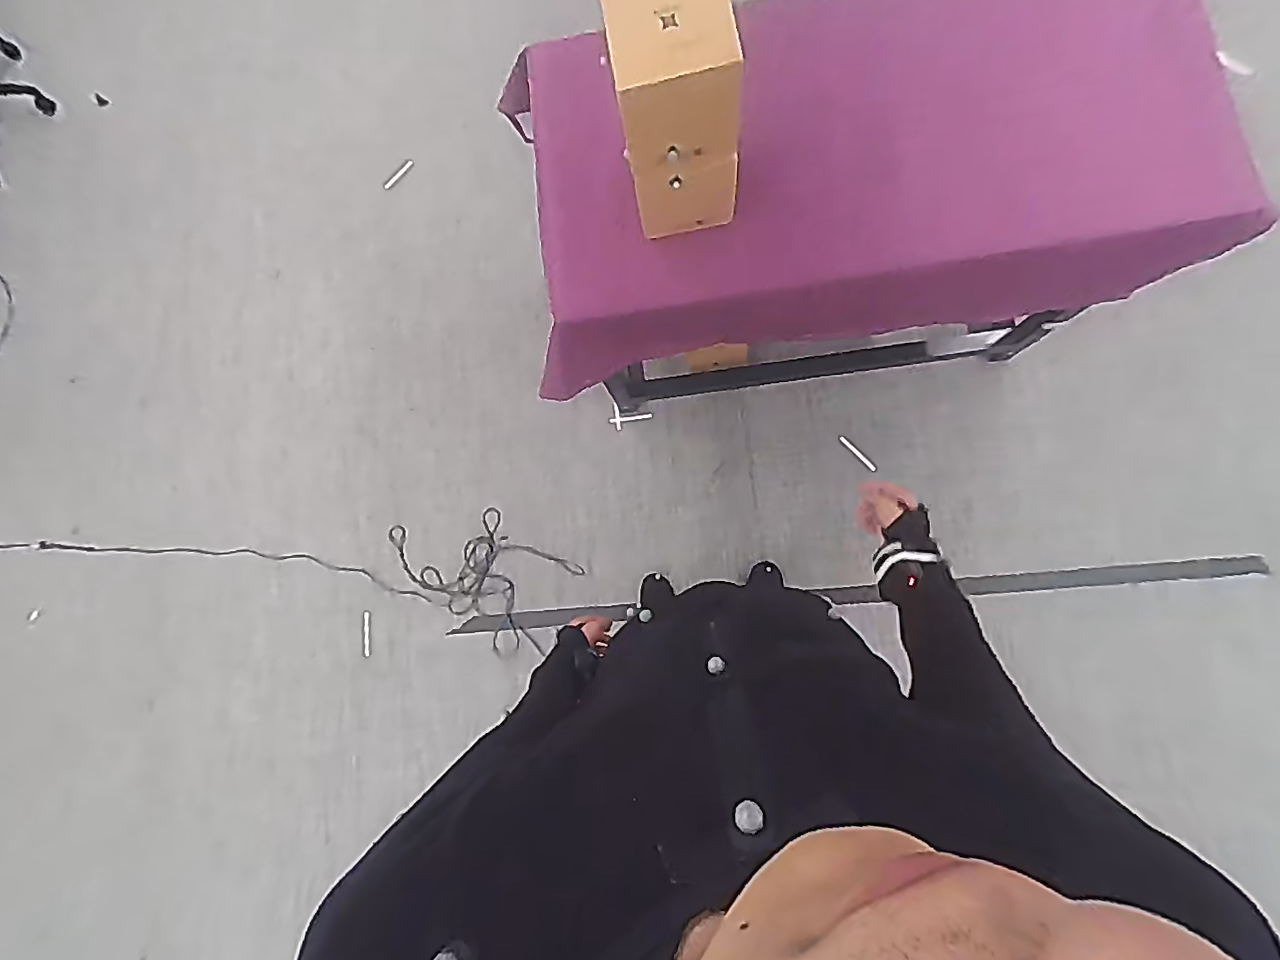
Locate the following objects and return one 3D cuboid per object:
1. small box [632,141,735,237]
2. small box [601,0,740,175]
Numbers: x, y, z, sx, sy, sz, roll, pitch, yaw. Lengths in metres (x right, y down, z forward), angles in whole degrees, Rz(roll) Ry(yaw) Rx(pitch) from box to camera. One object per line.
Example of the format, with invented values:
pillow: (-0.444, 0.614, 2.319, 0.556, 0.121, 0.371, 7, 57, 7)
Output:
small box: (0.067, -0.560, 0.939, 0.168, 0.176, 0.179, -9, 81, 6)
small box: (0.043, -0.585, 0.779, 0.168, 0.176, 0.179, -10, 81, 5)
